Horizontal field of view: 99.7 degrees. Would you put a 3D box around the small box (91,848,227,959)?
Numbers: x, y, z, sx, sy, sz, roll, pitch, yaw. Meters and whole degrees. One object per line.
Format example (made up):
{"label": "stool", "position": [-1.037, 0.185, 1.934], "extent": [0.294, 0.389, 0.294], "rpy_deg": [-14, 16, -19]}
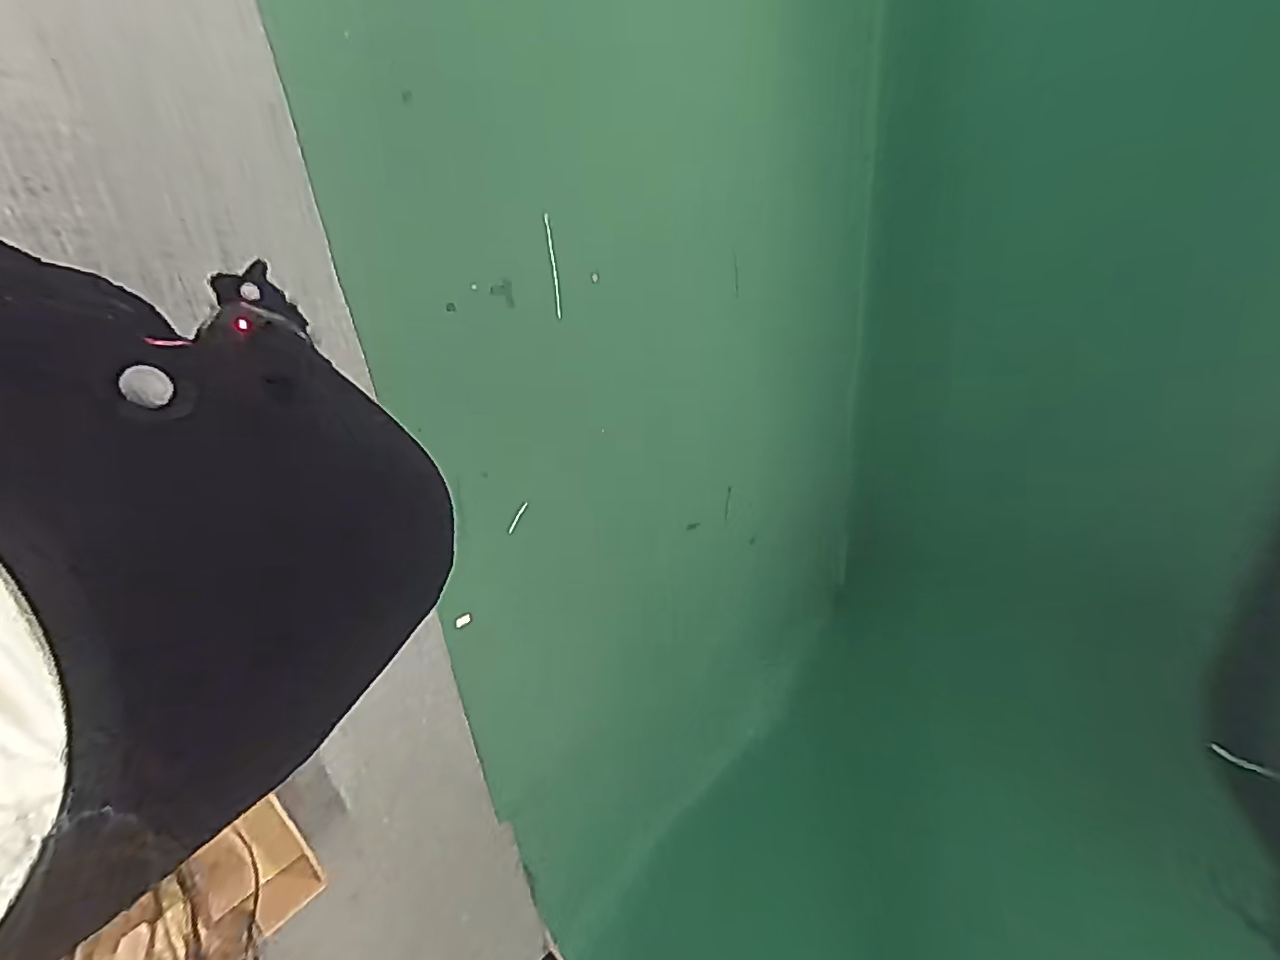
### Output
{"label": "small box", "position": [-1.055, 0.957, 1.185], "extent": [0.168, 0.176, 0.179], "rpy_deg": [-30, 123, -39]}
